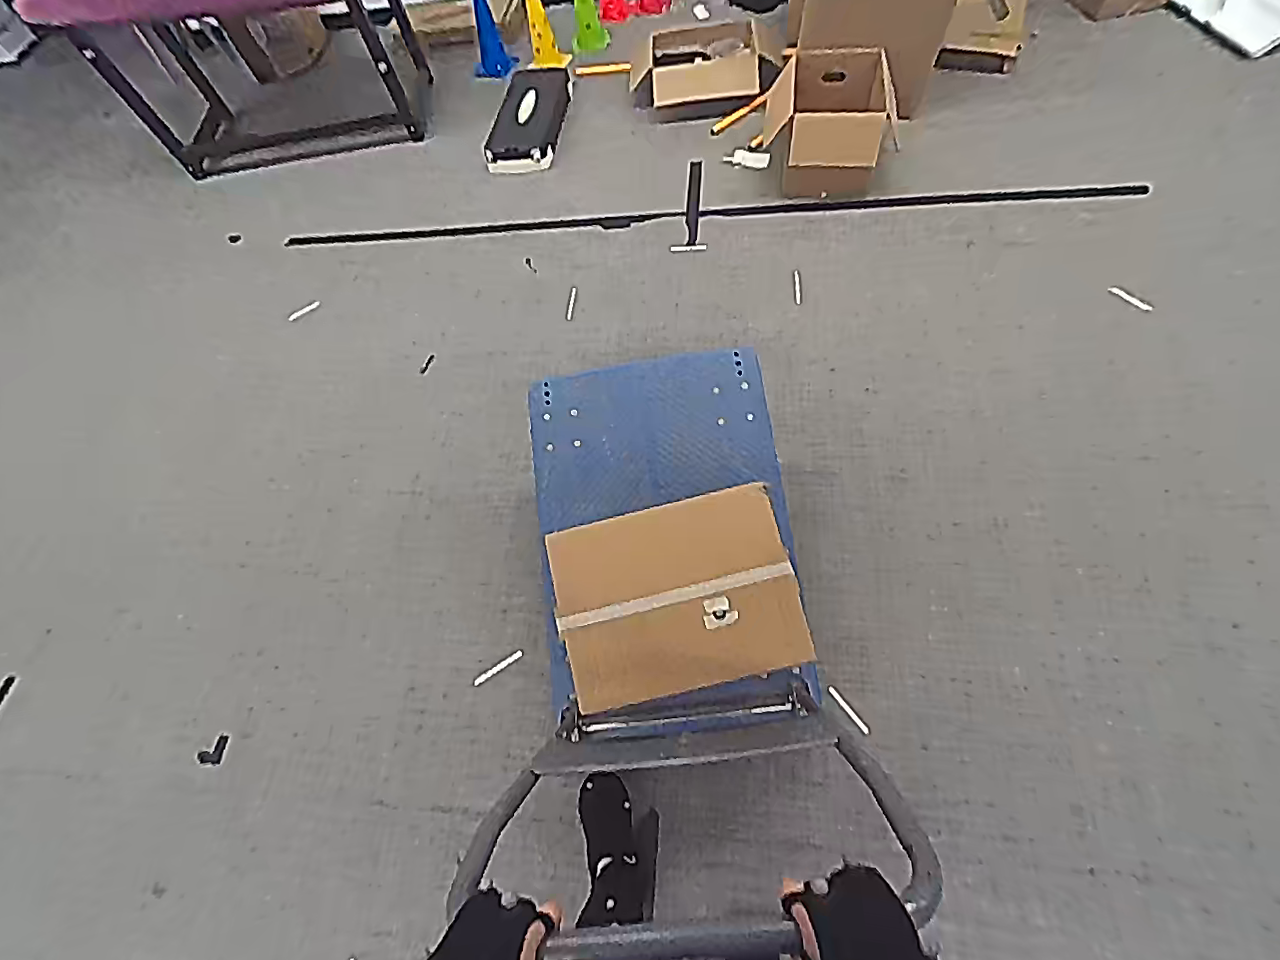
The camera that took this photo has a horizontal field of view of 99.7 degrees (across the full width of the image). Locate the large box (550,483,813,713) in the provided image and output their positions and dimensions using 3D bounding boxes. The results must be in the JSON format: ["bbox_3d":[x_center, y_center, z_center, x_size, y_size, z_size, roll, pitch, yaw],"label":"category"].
[{"bbox_3d":[0.075,0.233,1.088,0.408,0.320,0.320,-15,78,1],"label":"large box"}]
